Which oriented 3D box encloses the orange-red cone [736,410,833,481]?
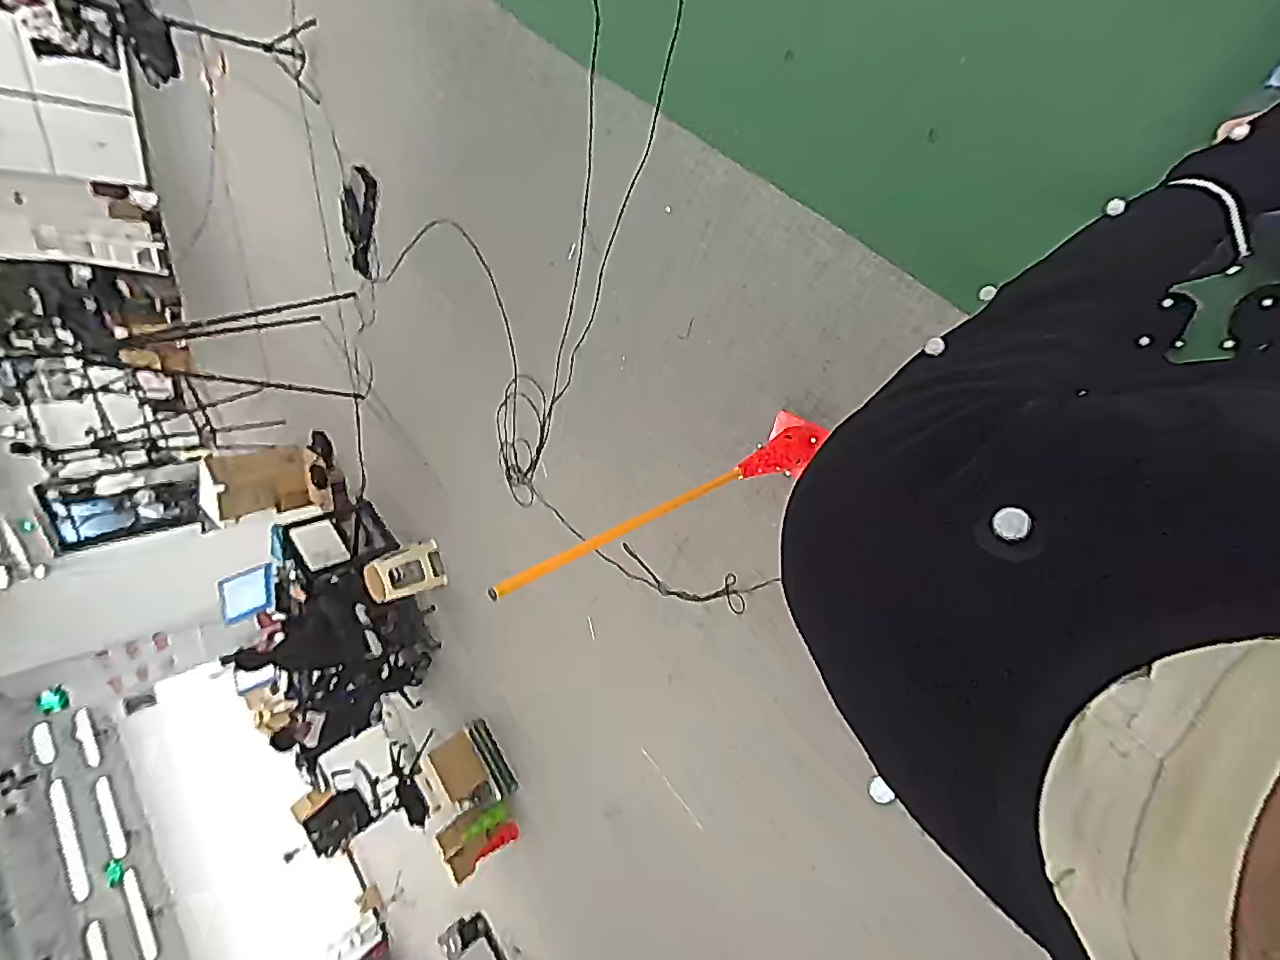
[{"bbox_3d":[0.412,-0.073,1.688,0.199,0.360,0.198,35,126,32],"label":"orange-red cone"}]
